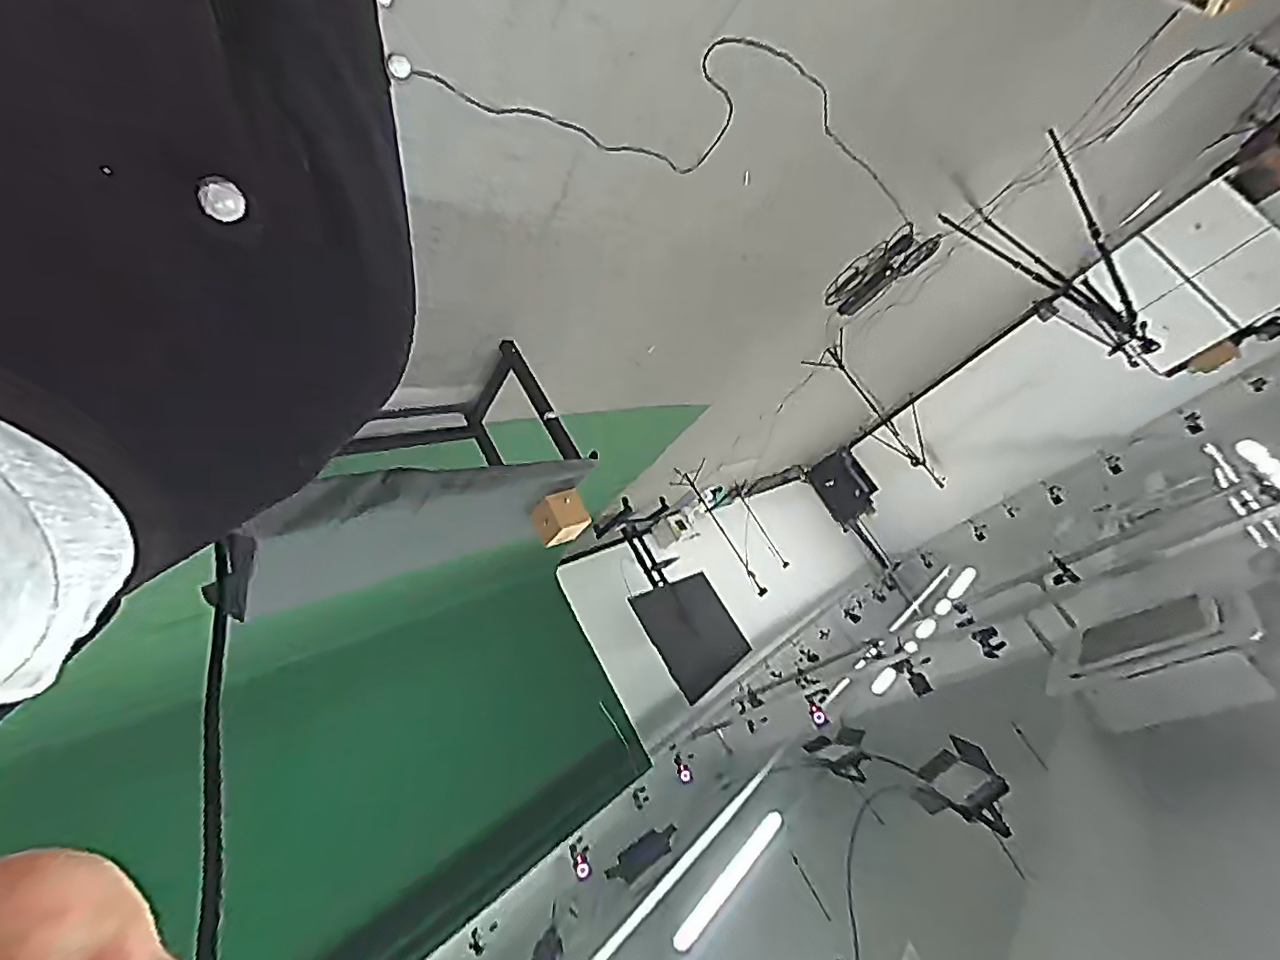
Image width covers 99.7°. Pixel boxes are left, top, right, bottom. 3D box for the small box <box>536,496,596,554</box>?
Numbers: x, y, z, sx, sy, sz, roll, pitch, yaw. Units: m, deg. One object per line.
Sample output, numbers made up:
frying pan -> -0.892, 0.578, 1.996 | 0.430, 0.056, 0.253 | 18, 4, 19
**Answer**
small box -> -0.329, 0.194, 2.355 | 0.168, 0.176, 0.179 | -15, 157, -45
